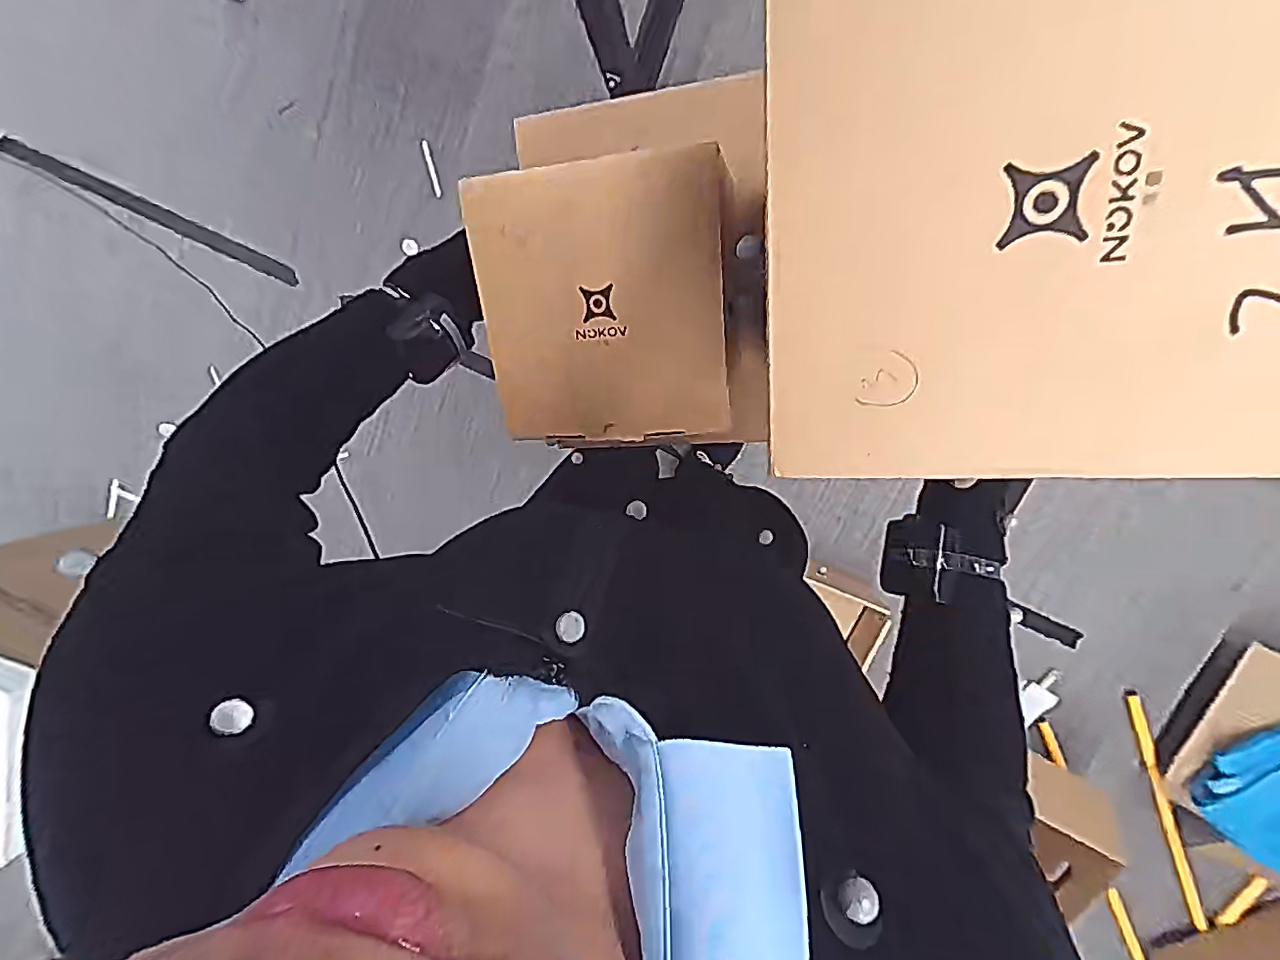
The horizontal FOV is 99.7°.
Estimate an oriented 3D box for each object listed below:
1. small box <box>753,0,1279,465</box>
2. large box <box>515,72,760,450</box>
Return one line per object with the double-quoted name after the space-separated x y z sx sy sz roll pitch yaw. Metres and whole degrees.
0.141 -0.106 0.222 0.179 0.176 0.168 0 108 14 "small box"
0.127 -0.230 0.630 0.408 0.320 0.320 -3 104 15 "large box"
